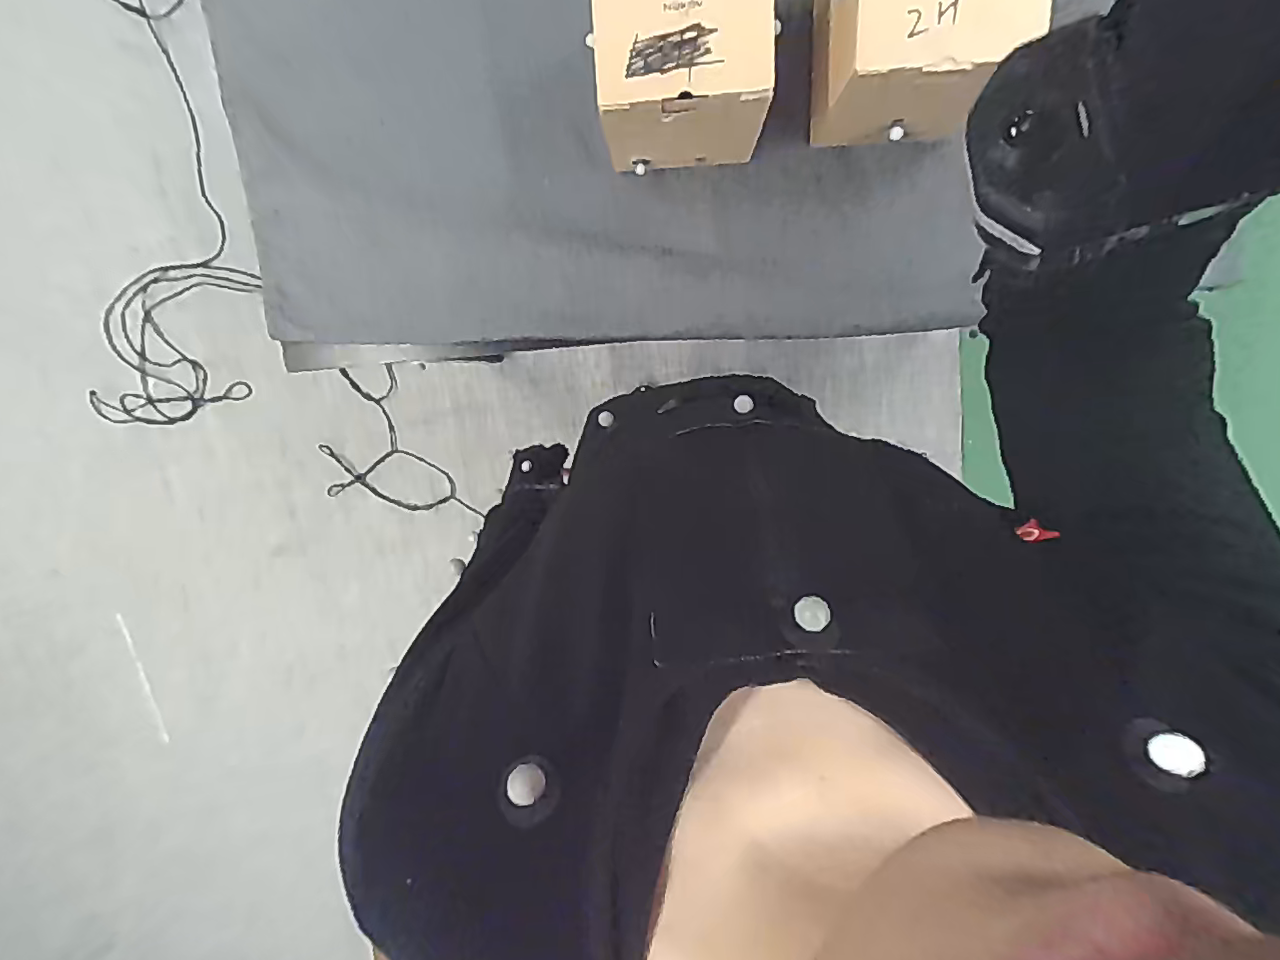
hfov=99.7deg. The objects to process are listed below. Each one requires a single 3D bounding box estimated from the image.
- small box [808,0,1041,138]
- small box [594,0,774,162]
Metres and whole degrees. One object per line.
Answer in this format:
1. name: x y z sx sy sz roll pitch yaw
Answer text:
1. small box: 0.275 -0.475 0.546 0.168 0.176 0.179 3 105 4
2. small box: 0.046 -0.453 0.564 0.168 0.176 0.179 -2 101 4
